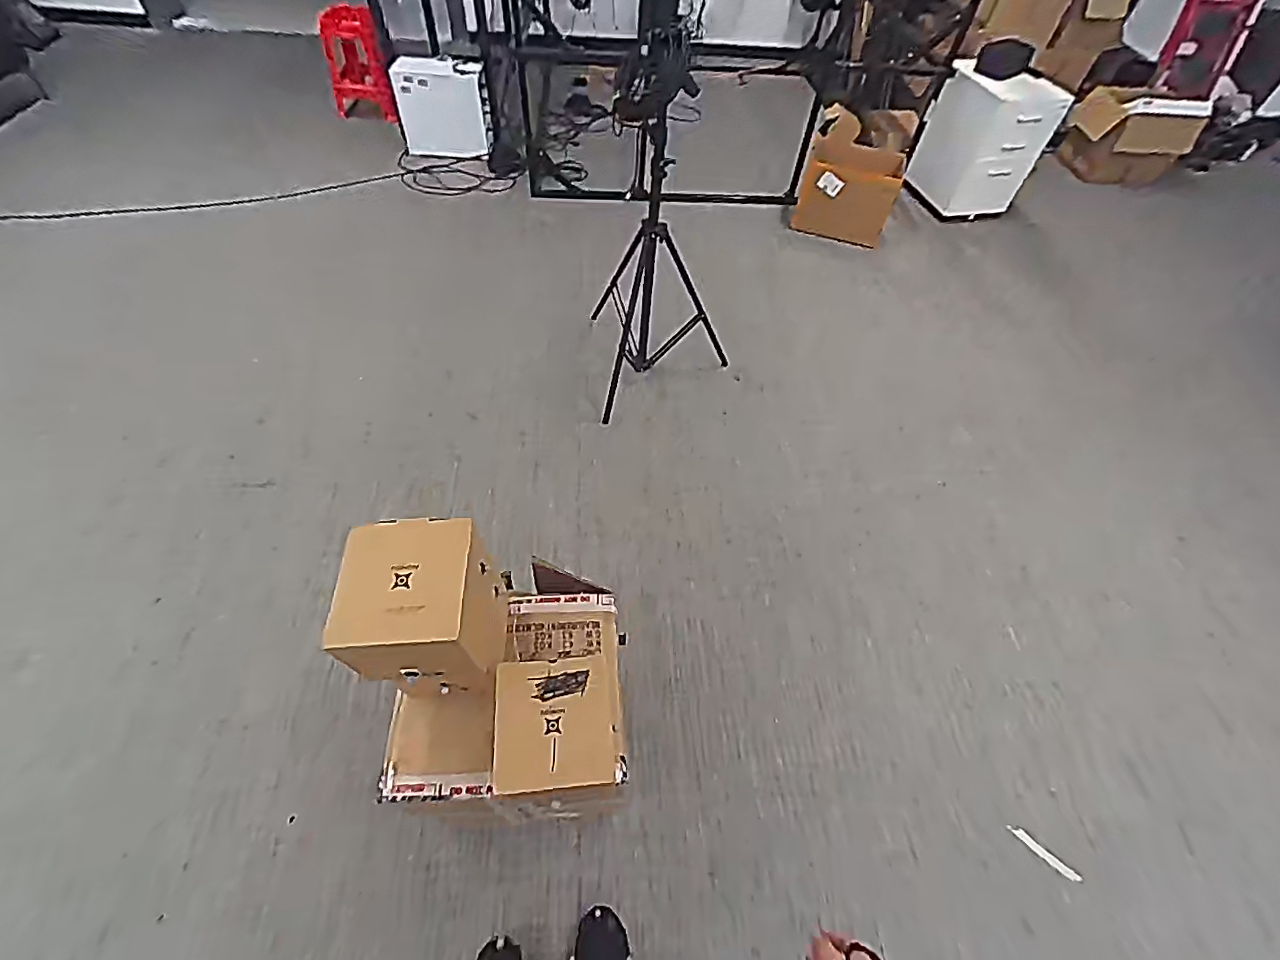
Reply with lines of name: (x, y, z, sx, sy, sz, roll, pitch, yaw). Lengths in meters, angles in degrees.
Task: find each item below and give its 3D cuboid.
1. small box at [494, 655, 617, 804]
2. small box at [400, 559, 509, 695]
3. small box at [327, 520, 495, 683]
small box: (-0.125, 0.386, 0.832, 0.168, 0.176, 0.179, -3, 57, -6)
small box: (-0.320, 0.250, 0.913, 0.168, 0.176, 0.179, -2, 56, -4)
small box: (-0.306, 0.175, 0.768, 0.168, 0.176, 0.179, -3, 57, -4)
